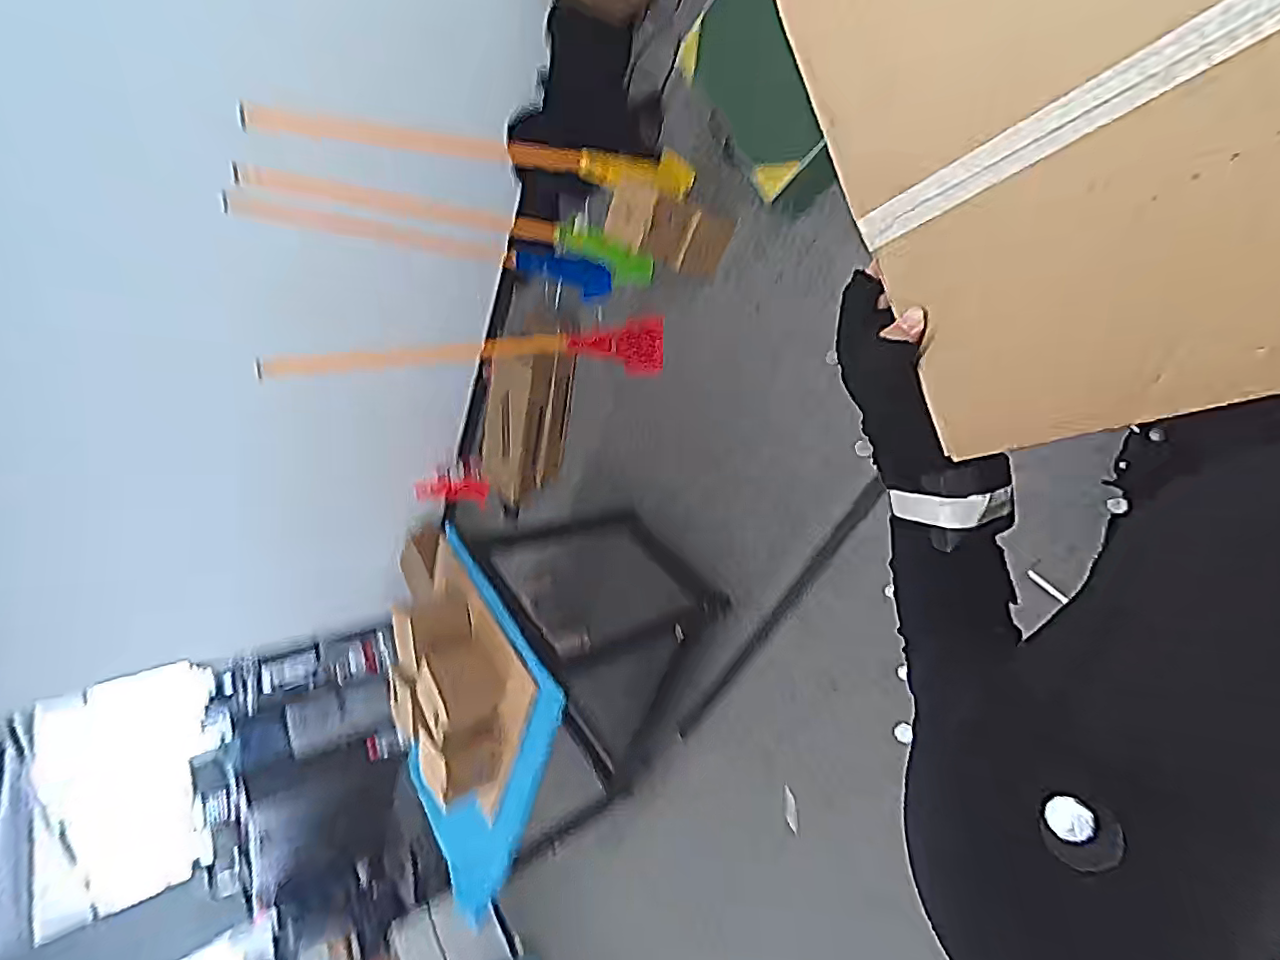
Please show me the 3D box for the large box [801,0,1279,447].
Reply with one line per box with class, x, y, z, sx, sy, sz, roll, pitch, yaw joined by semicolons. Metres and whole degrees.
large box;0.379;-0.250;0.303;0.408;0.320;0.320;-16;100;47
